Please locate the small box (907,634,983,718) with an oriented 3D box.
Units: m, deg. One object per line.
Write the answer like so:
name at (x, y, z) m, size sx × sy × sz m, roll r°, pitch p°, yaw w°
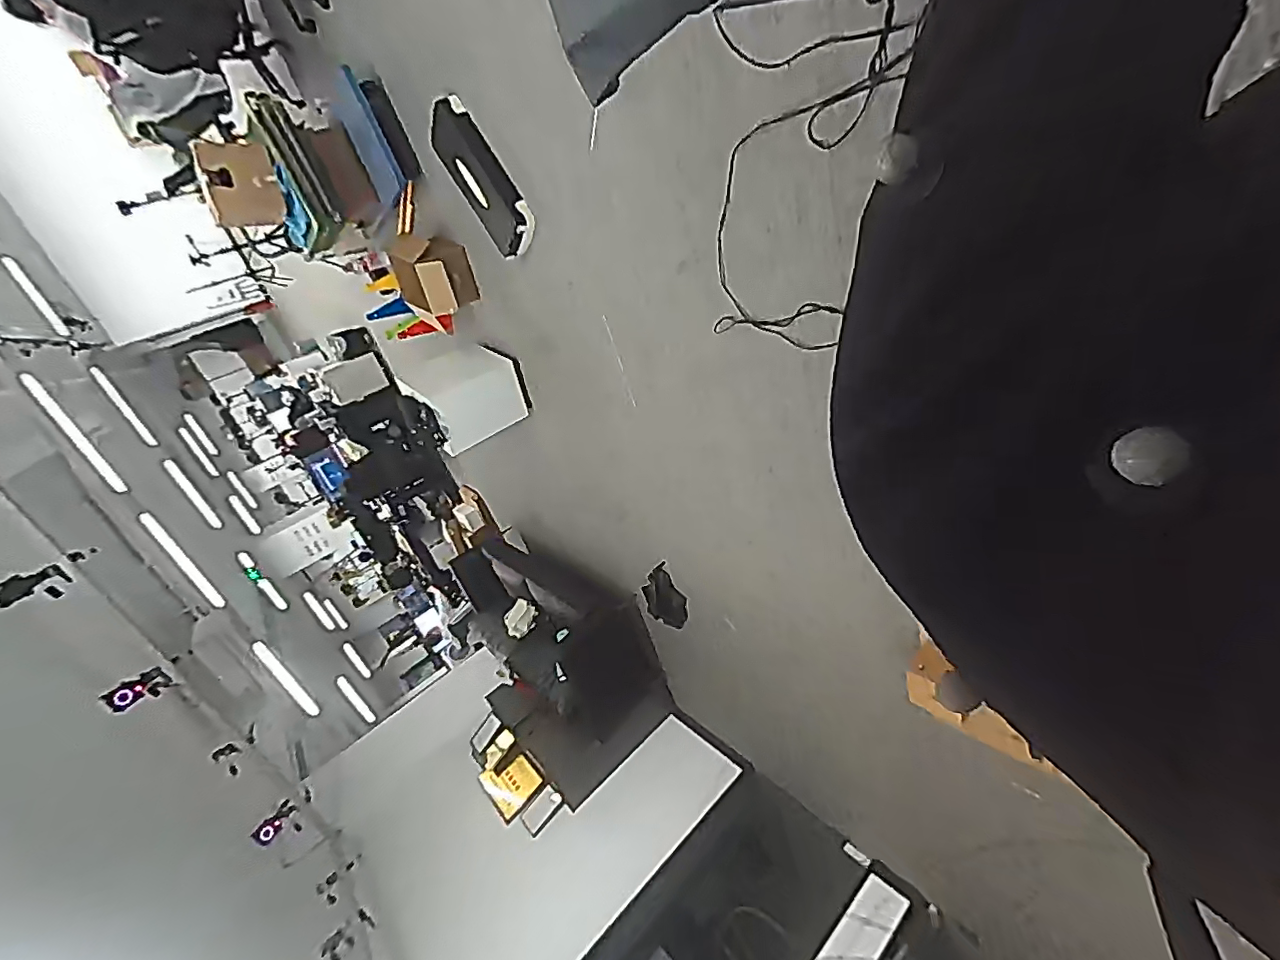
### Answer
small box at (1.035, 0.653, 1.824) m, size 0.179 × 0.176 × 0.168 m, roll 17°, pitch 135°, yaw 52°
